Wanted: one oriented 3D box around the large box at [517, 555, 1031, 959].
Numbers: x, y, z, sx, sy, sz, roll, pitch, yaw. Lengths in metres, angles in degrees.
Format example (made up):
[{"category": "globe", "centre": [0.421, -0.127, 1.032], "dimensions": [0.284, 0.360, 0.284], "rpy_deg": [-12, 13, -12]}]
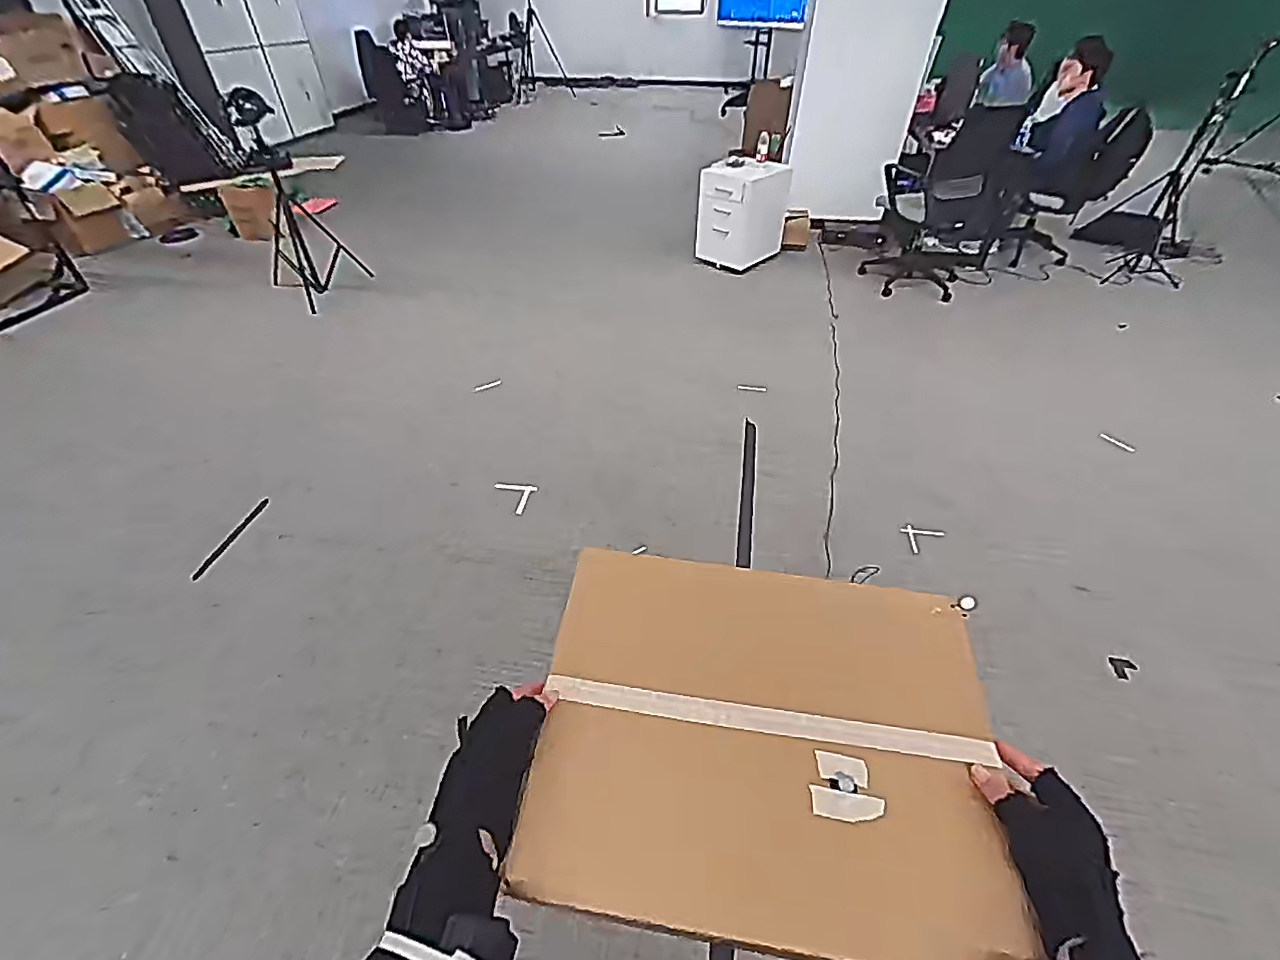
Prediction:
[{"category": "large box", "centre": [0.114, 0.317, 0.623], "dimensions": [0.408, 0.320, 0.320], "rpy_deg": [7, 51, 5]}]
